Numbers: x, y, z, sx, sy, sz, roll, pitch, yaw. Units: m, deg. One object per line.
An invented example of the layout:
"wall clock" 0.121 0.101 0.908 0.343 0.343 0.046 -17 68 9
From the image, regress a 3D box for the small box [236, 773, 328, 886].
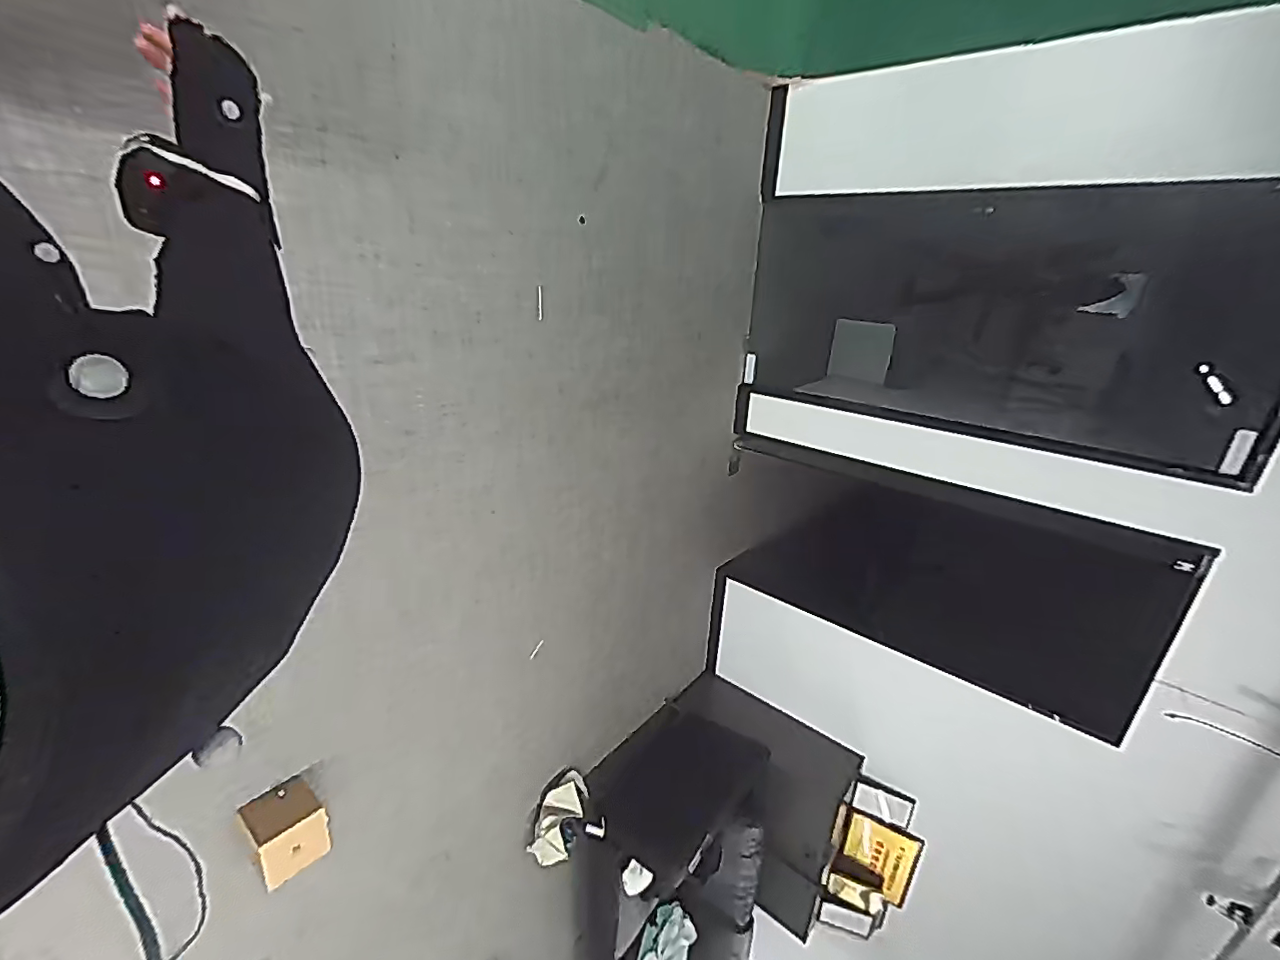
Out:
"small box" -1.031 0.998 1.559 0.168 0.176 0.179 -19 121 -49
